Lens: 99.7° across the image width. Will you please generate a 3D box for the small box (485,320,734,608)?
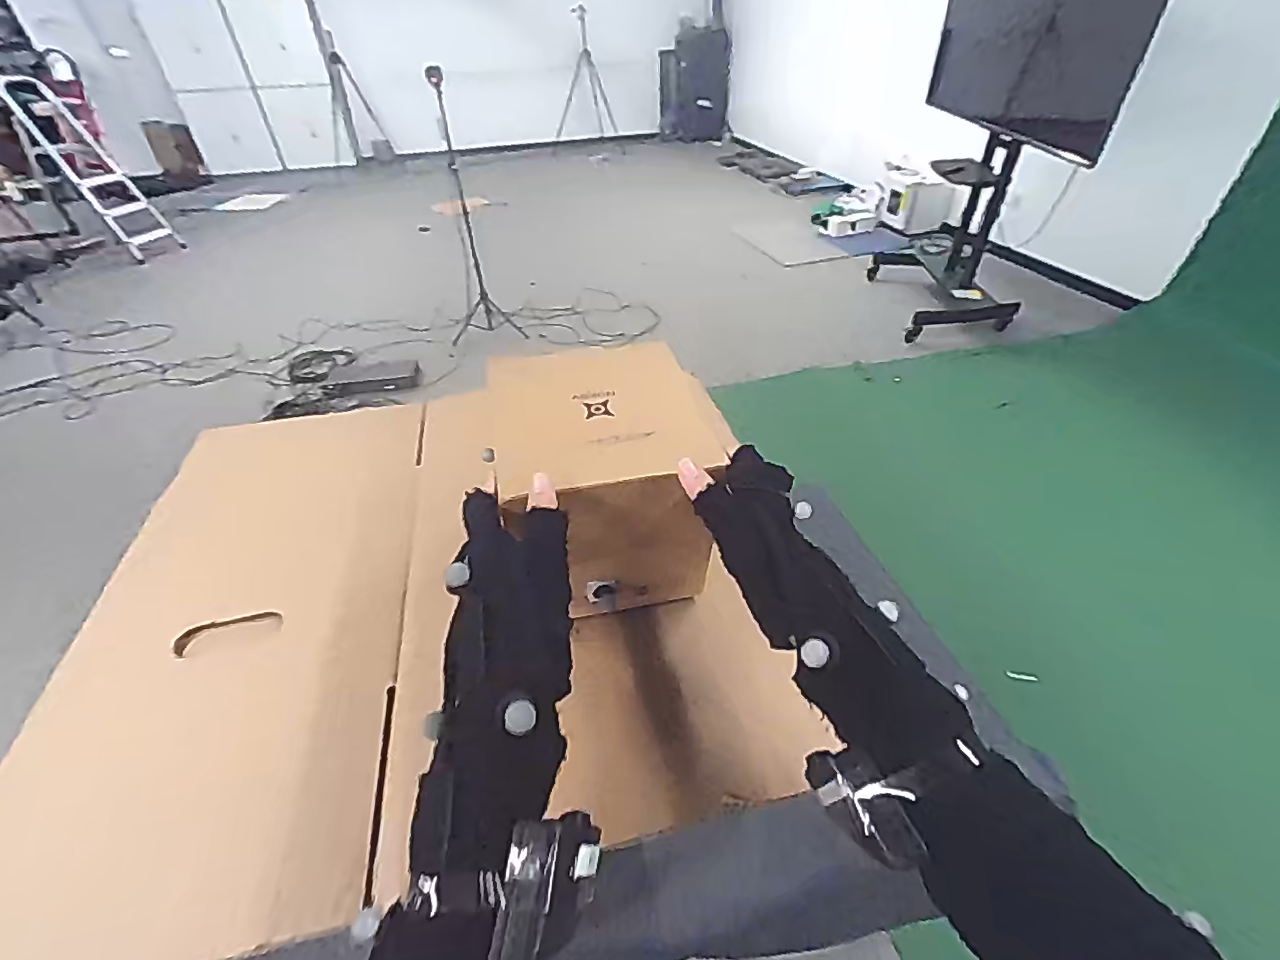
[{"bbox_3d":[-0.037,-0.016,0.474,0.168,0.176,0.179,-9,48,-12],"label":"small box"}]
